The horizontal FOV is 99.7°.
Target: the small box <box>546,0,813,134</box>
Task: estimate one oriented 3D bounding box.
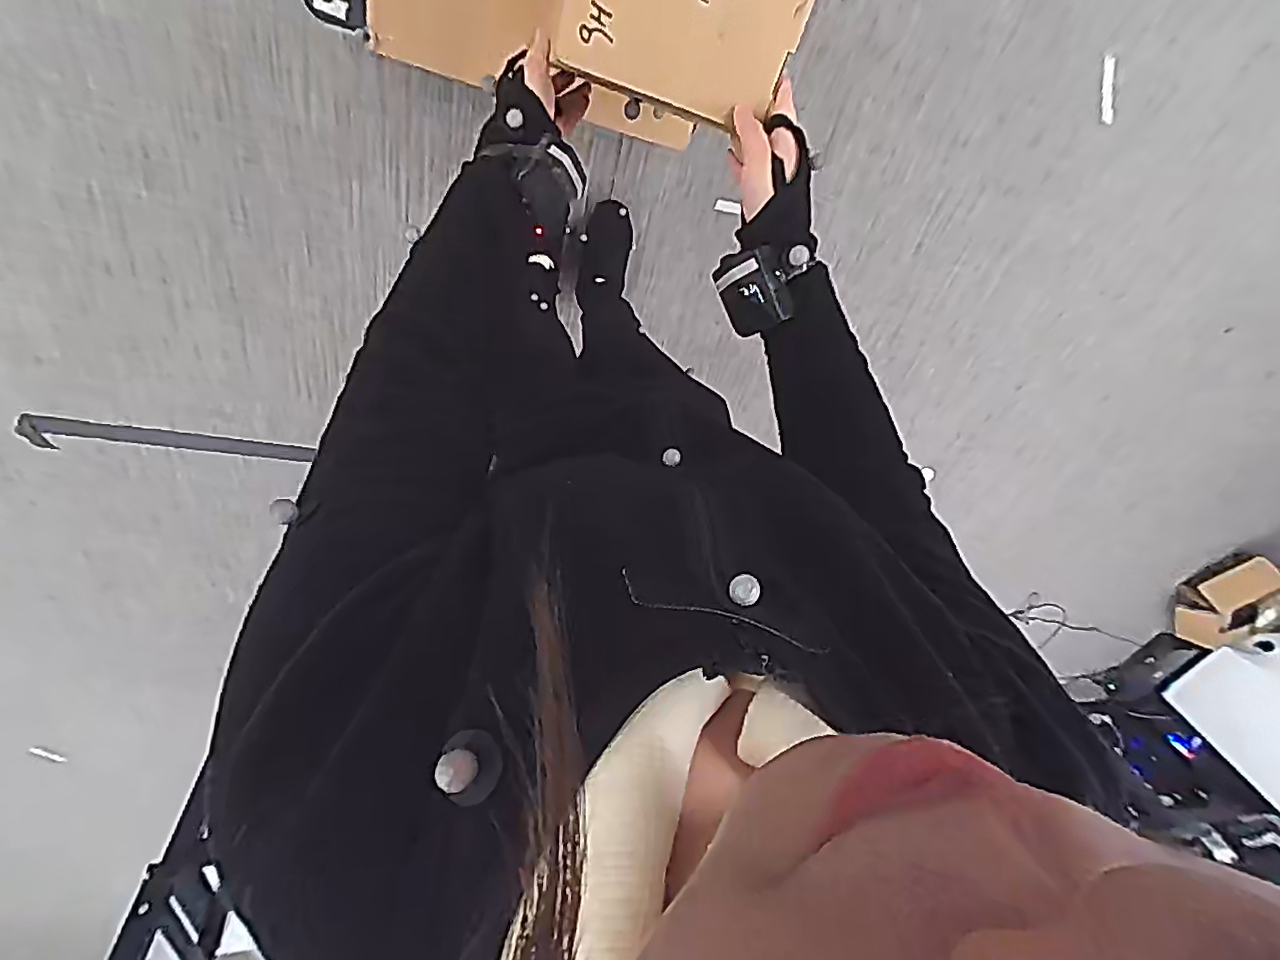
[{"bbox_3d":[0.030,-0.407,0.435,0.179,0.176,0.168,9,123,-19],"label":"small box"}]

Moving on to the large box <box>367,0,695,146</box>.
[{"bbox_3d":[-0.108,-0.684,0.716,0.408,0.320,0.320,7,124,-16],"label":"large box"}]
